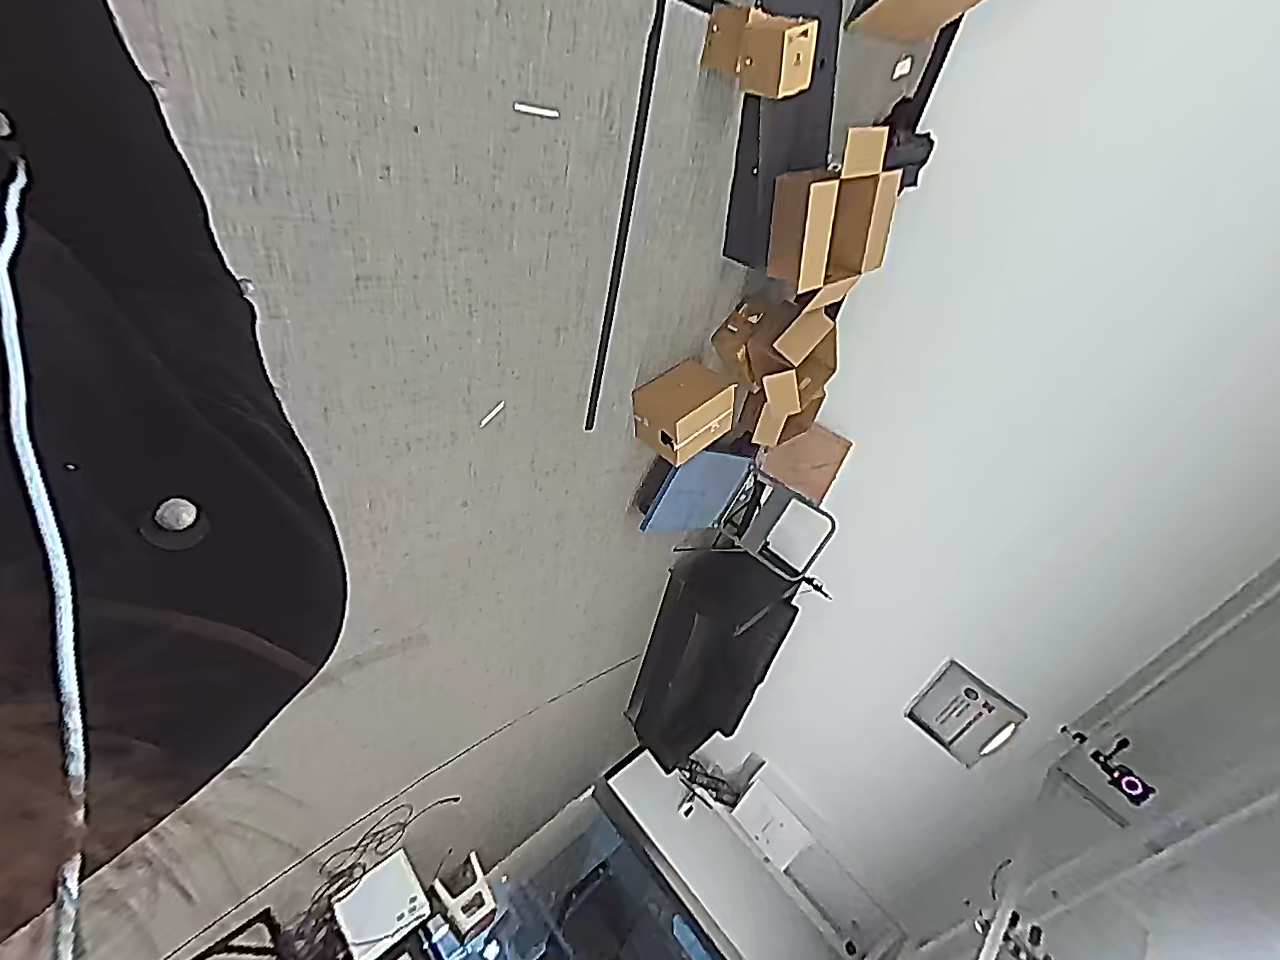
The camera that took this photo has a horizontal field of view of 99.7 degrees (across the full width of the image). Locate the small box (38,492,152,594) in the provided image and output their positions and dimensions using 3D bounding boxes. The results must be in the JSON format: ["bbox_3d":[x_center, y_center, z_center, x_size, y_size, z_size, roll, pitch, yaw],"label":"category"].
[{"bbox_3d":[-1.375,0.151,1.365,0.179,0.176,0.168,-16,135,-45],"label":"small box"}]
